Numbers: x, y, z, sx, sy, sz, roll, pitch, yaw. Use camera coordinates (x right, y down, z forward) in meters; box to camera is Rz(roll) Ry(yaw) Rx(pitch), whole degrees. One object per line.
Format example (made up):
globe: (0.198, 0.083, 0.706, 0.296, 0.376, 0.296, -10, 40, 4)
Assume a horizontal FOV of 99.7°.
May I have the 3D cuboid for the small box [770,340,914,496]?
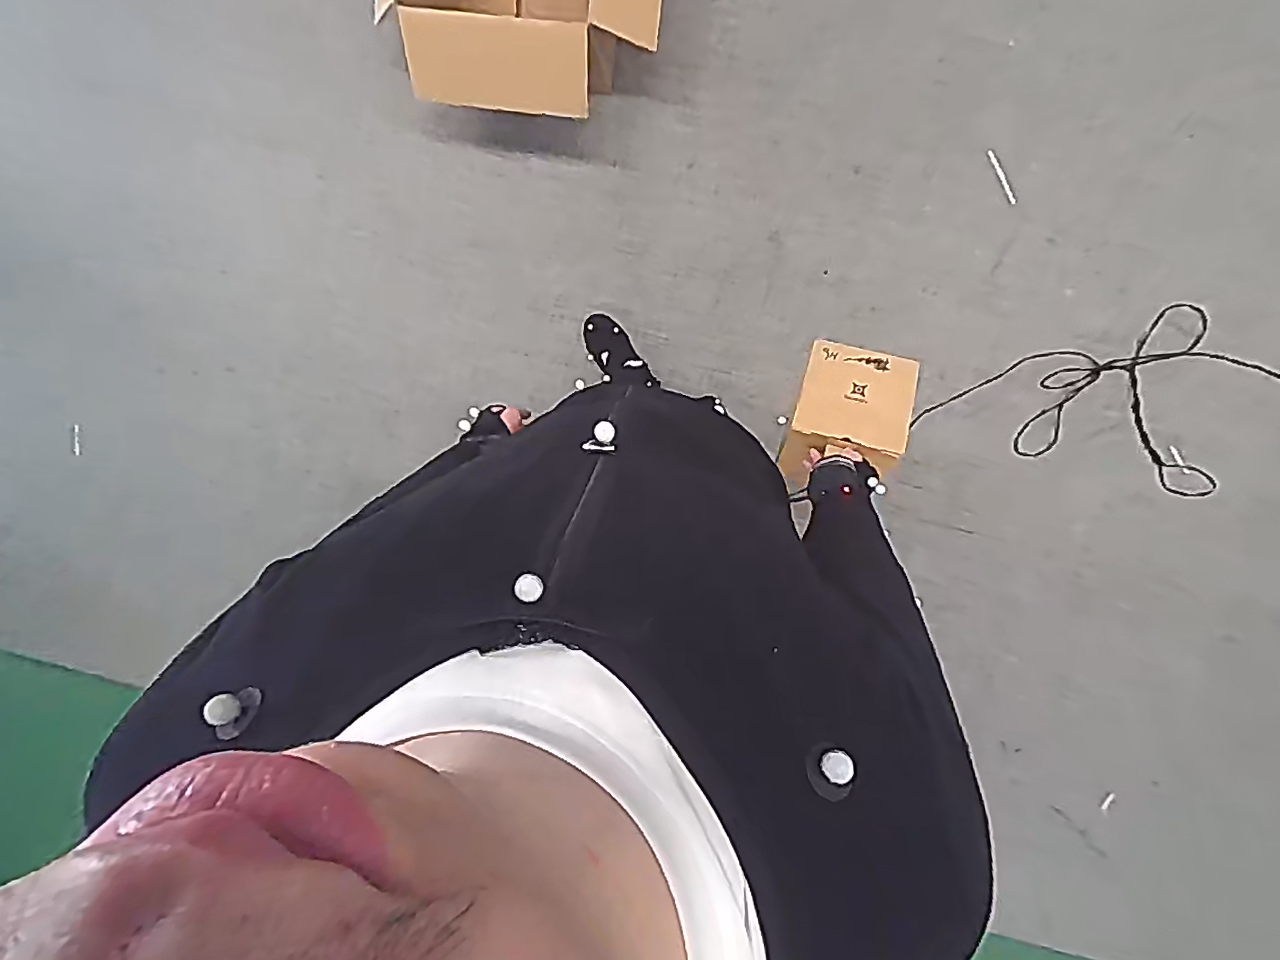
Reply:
small box: (0.321, -0.094, 0.890, 0.168, 0.176, 0.179, 18, 69, 11)
